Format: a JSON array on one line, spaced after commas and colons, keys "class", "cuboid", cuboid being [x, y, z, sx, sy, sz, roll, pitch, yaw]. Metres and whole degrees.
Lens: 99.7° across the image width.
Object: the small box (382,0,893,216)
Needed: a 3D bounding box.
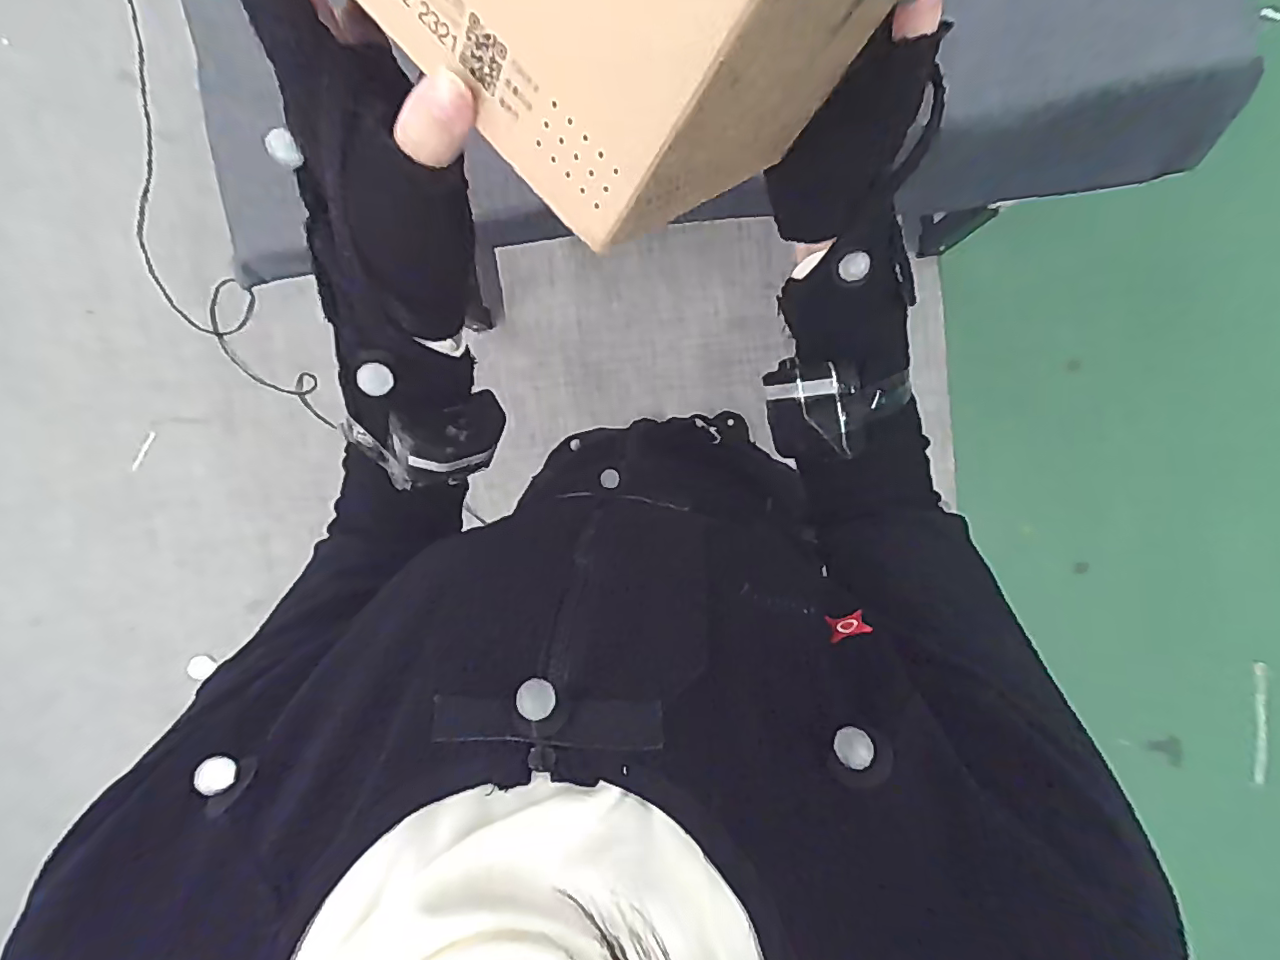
[{"class": "small box", "cuboid": [0.015, -0.222, 0.169, 0.168, 0.179, 0.176, 46, 141, -4]}]
